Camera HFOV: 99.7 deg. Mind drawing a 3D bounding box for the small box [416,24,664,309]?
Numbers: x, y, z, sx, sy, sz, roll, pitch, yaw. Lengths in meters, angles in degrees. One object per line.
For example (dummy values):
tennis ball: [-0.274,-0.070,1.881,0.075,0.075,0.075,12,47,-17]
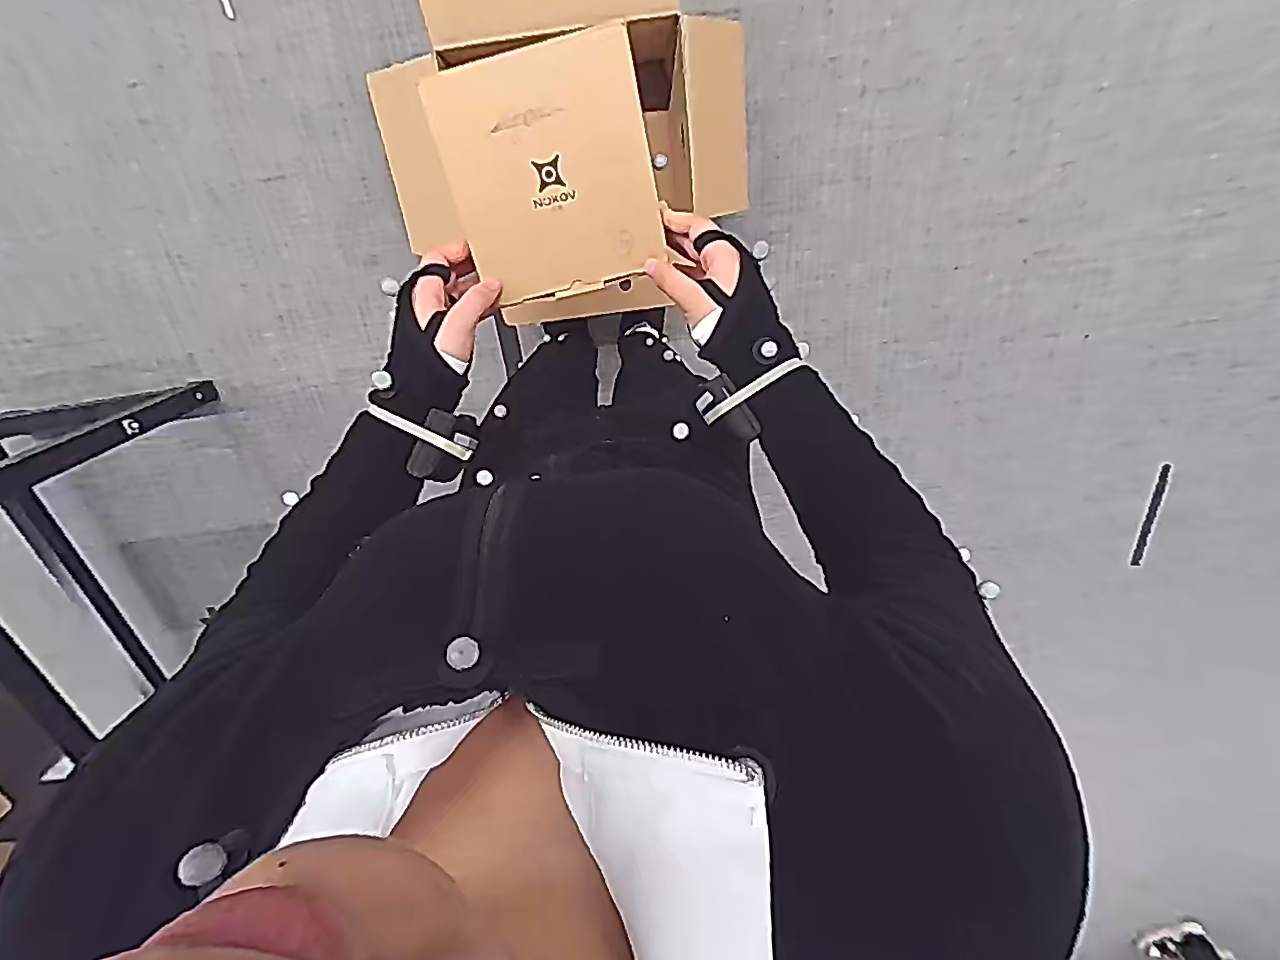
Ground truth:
small box: [-0.072,-0.277,0.510,0.168,0.176,0.179,-11,114,6]
